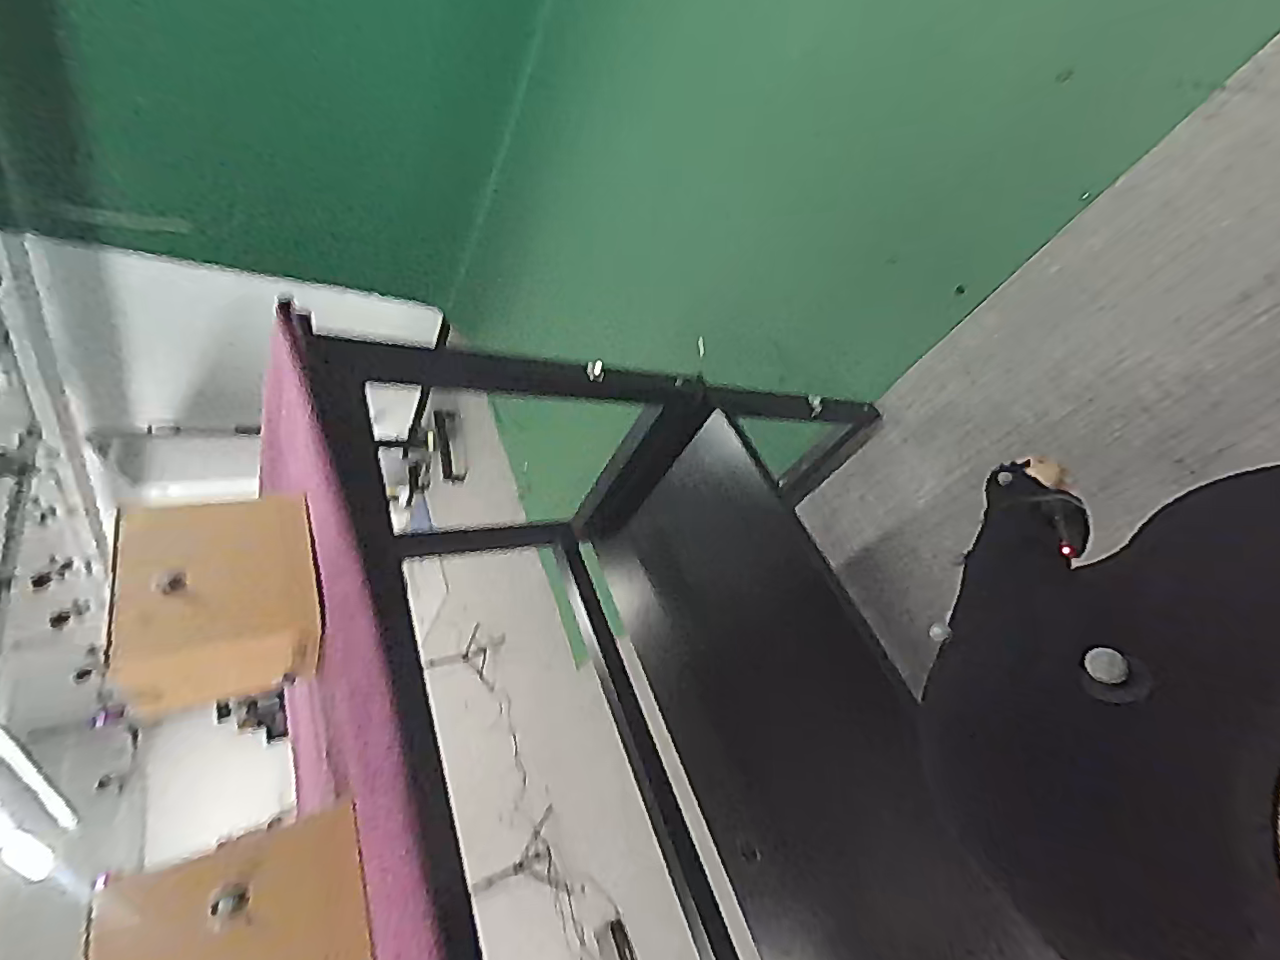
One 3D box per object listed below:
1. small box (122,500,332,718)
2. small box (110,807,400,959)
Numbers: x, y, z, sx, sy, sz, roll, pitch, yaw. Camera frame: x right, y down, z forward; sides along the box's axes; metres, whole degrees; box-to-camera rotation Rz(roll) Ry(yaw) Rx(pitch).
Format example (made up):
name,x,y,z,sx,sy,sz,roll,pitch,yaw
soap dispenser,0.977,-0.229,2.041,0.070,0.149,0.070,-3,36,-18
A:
name,x,y,z,sx,sy,sz,roll,pitch,yaw
small box,-0.461,0.139,0.620,0.168,0.176,0.179,-53,52,42
small box,-0.308,0.398,0.443,0.168,0.176,0.179,-54,52,39
